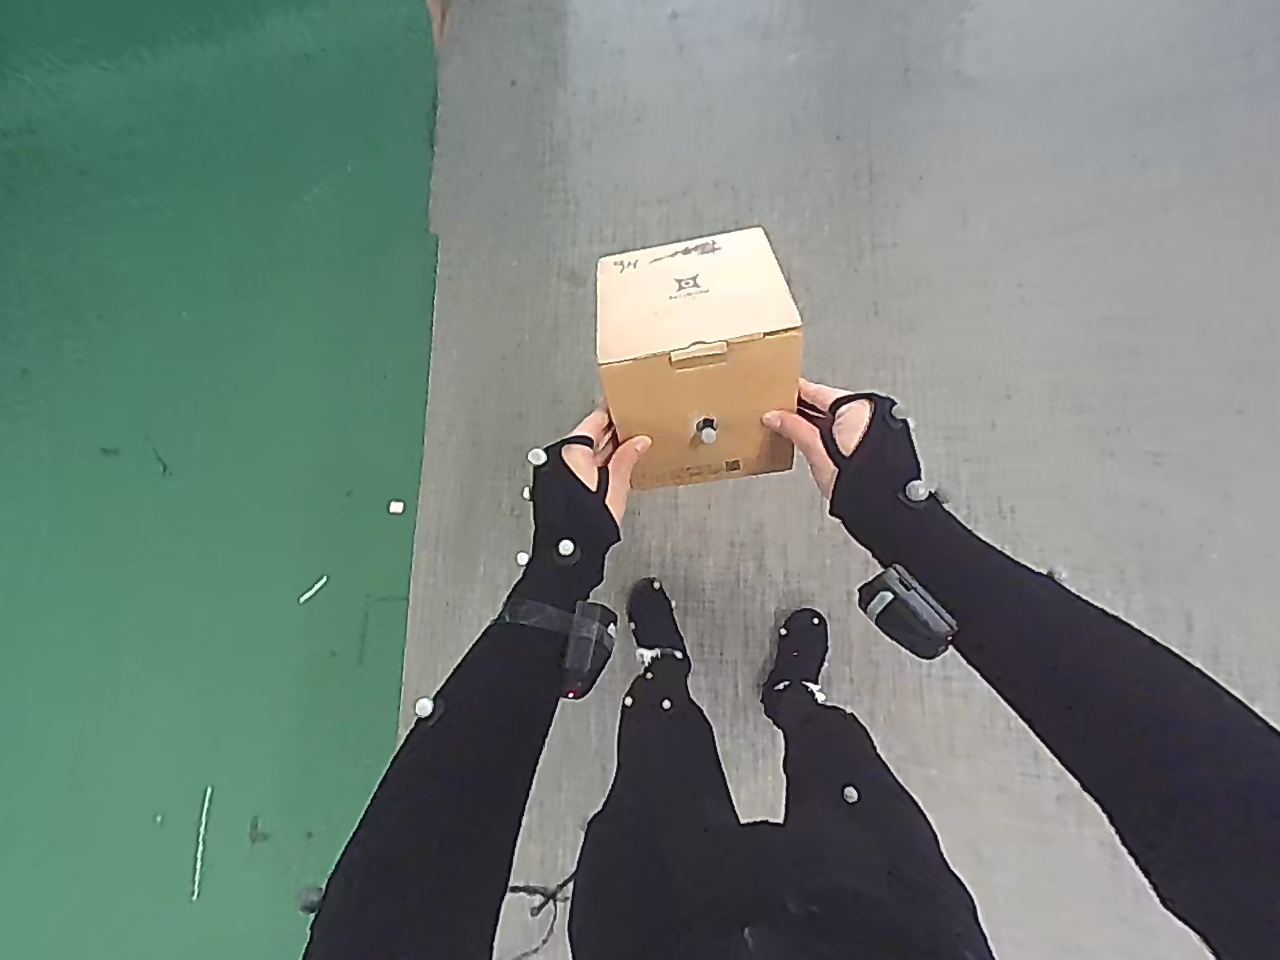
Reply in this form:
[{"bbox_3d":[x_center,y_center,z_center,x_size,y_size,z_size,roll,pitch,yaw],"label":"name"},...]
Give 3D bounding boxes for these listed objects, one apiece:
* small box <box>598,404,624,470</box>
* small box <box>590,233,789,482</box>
[{"bbox_3d":[-0.004,-0.122,1.441,0.179,0.176,0.168,-2,82,12],"label":"small box"},{"bbox_3d":[0.050,-0.112,0.543,0.168,0.176,0.179,-9,49,6],"label":"small box"}]
